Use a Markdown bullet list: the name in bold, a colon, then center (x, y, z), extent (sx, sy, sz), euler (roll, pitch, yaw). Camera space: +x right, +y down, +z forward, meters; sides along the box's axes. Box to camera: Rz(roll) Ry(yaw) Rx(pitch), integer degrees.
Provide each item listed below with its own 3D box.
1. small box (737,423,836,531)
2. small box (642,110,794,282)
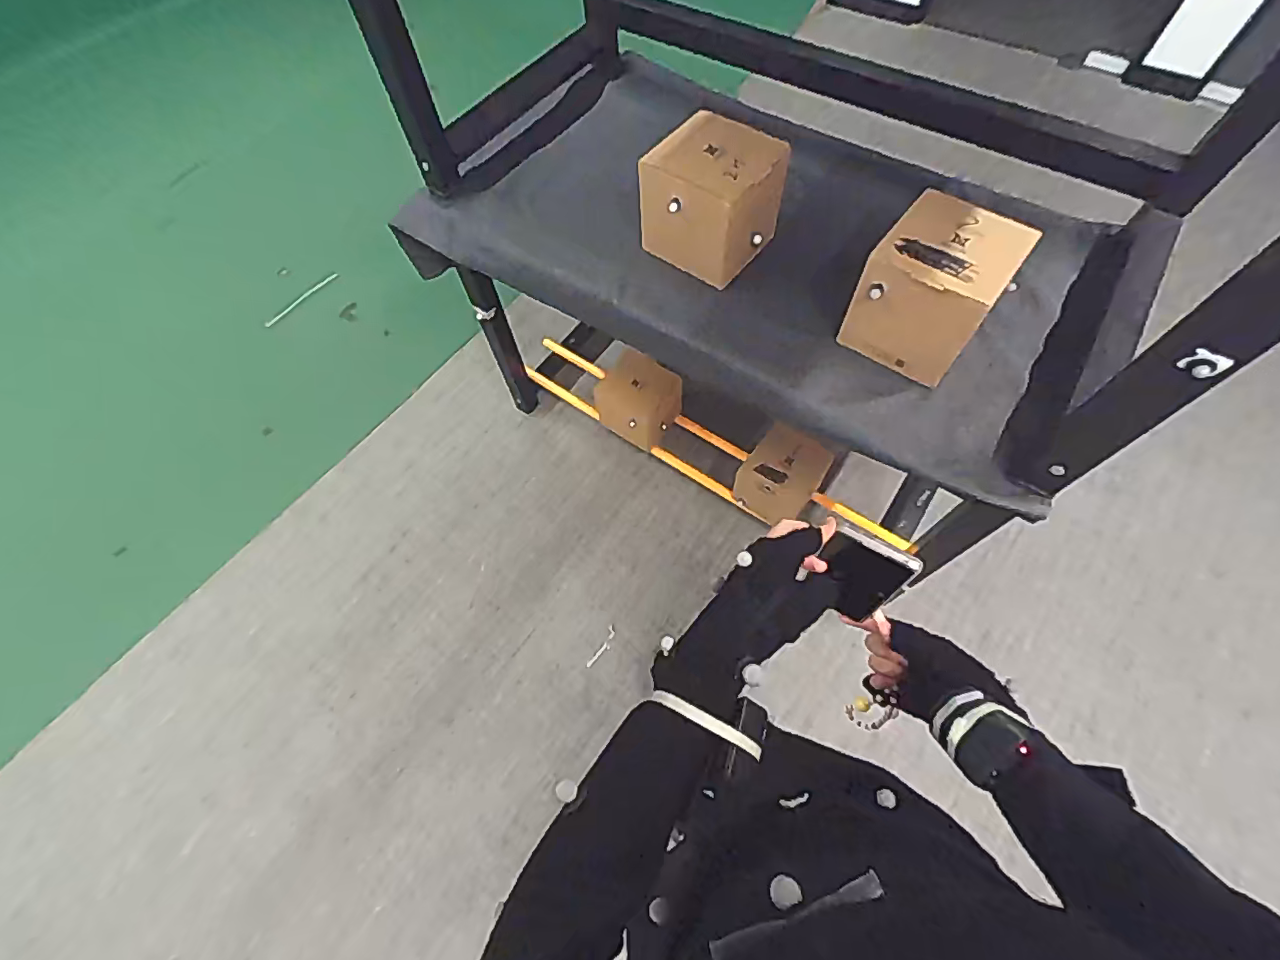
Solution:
- **small box**: center (0.356, -0.001, 1.349), extent (0.168, 0.176, 0.179), euler (36, 70, 18)
- **small box**: center (0.122, -0.464, 0.897), extent (0.179, 0.176, 0.168), euler (35, 70, 19)
